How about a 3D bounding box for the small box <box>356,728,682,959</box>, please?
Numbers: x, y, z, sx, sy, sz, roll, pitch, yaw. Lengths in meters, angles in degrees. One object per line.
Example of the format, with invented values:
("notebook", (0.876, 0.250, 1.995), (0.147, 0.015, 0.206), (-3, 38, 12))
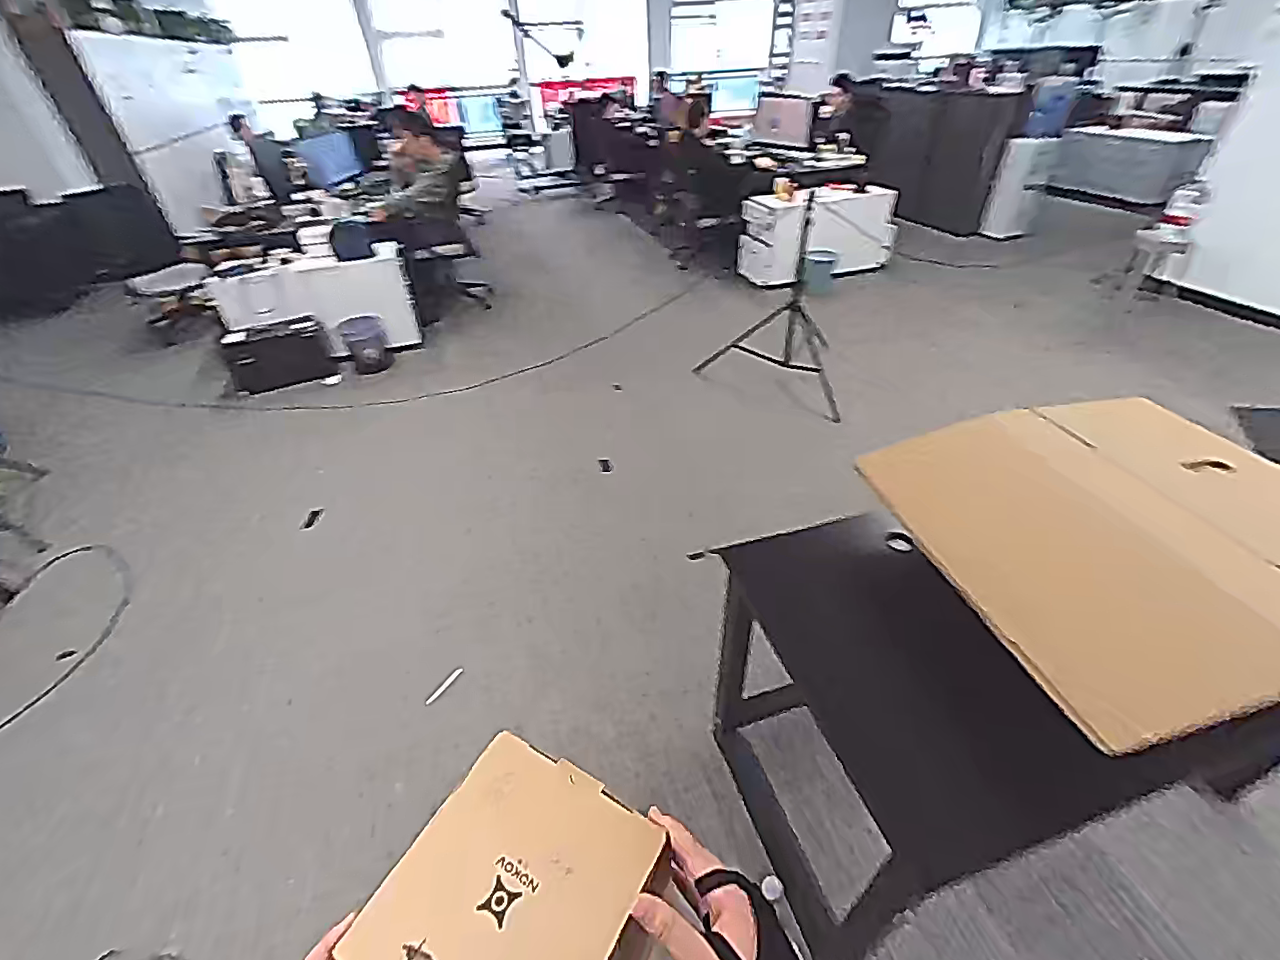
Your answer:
("small box", (-0.079, 0.351, 0.435), (0.168, 0.176, 0.179), (18, 43, 26))
